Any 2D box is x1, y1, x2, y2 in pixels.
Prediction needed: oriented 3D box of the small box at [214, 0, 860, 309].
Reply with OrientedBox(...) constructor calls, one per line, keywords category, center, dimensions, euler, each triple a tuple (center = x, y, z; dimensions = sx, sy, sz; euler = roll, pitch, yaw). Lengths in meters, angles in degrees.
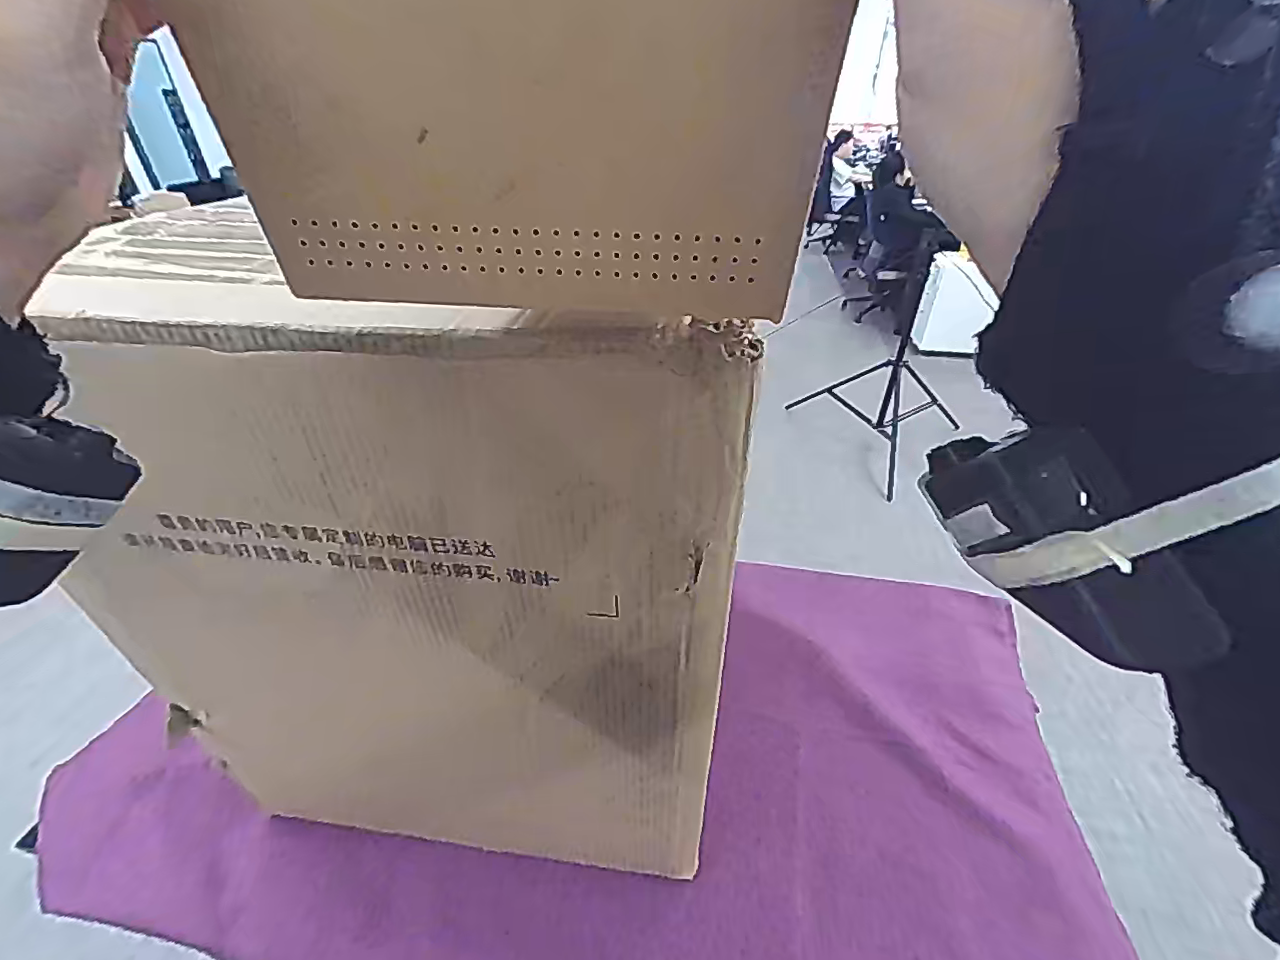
OrientedBox(category="small box", center=(-0.025, -0.175, 0.188), dimensions=(0.179, 0.176, 0.168), euler=(3, 47, 0))
